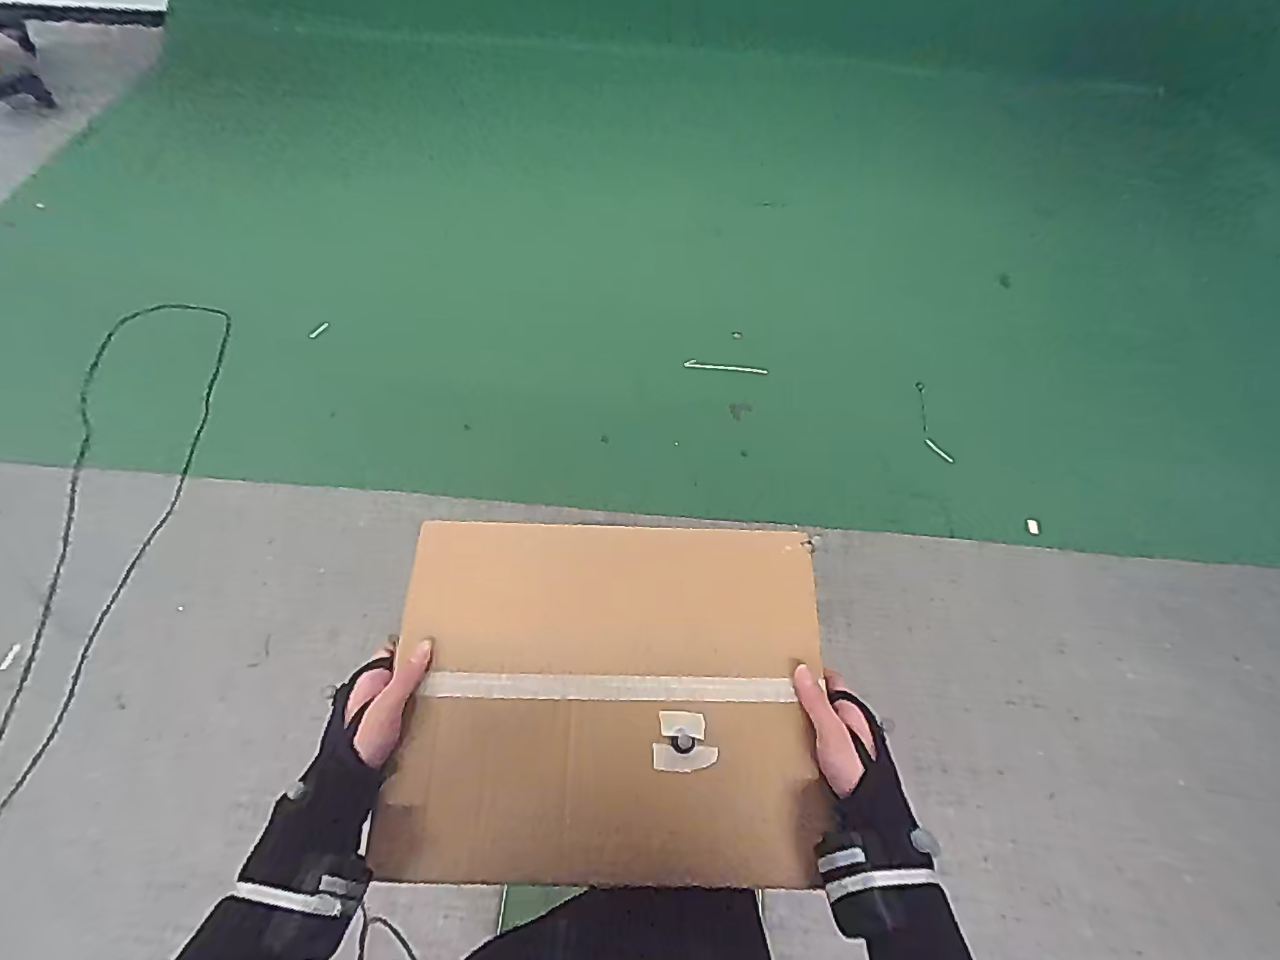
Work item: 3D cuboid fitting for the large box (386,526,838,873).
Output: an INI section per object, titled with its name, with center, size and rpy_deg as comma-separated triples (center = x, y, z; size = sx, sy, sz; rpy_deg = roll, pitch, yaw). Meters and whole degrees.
[large box]
center = -0.030, 0.252, 0.662
size = 0.408, 0.320, 0.320
rpy_deg = 2, 68, -2
